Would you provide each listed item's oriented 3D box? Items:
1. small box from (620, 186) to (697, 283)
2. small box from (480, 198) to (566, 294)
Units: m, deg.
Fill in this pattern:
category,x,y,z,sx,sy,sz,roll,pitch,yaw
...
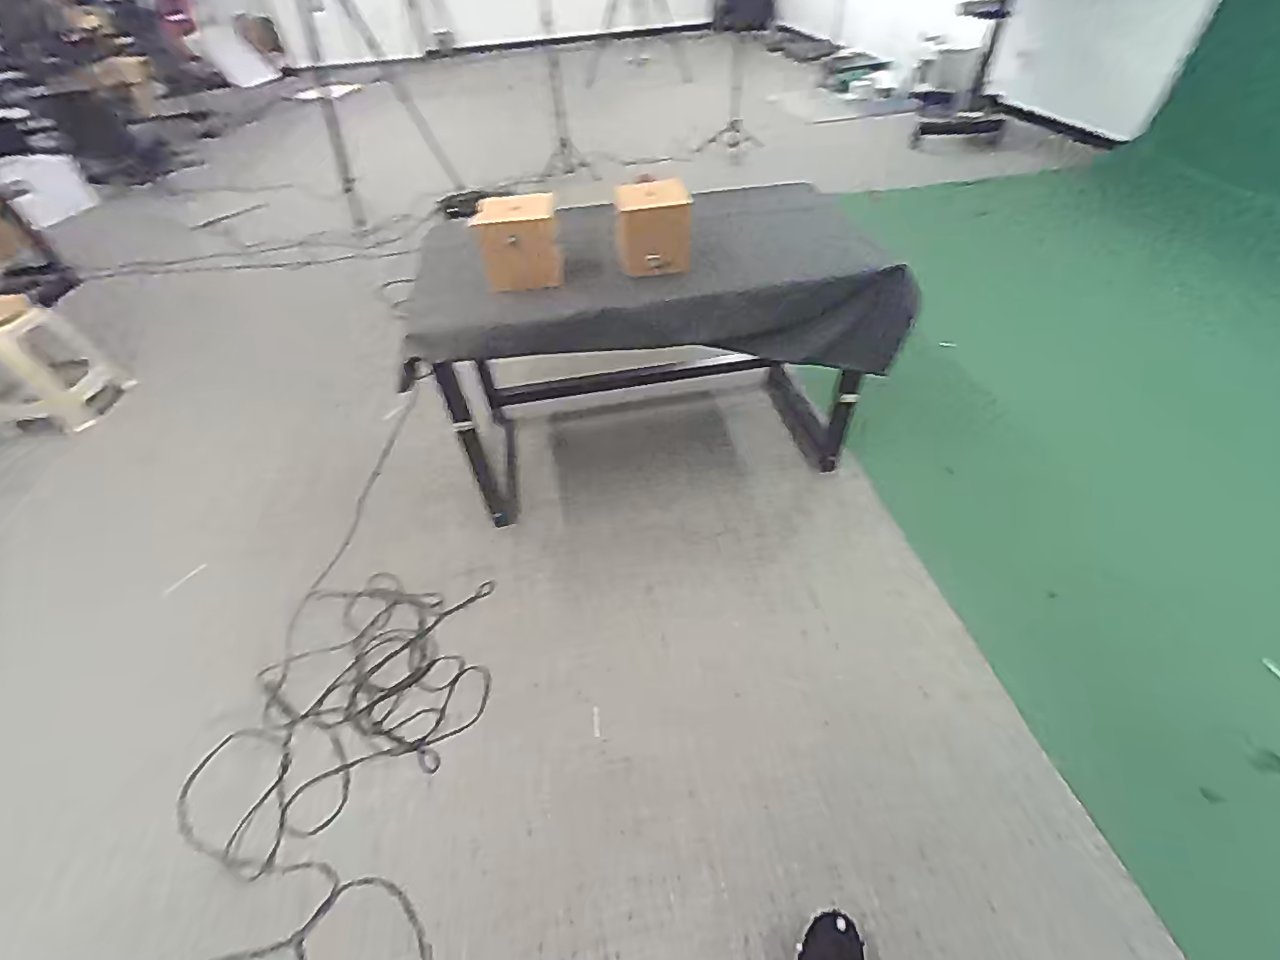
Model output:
category,x,y,z,sx,sy,sz,roll,pitch,yaw
small box,0.043,-0.619,1.364,0.168,0.176,0.179,-9,46,-4
small box,-0.282,-0.579,1.343,0.179,0.176,0.168,-5,46,-1
